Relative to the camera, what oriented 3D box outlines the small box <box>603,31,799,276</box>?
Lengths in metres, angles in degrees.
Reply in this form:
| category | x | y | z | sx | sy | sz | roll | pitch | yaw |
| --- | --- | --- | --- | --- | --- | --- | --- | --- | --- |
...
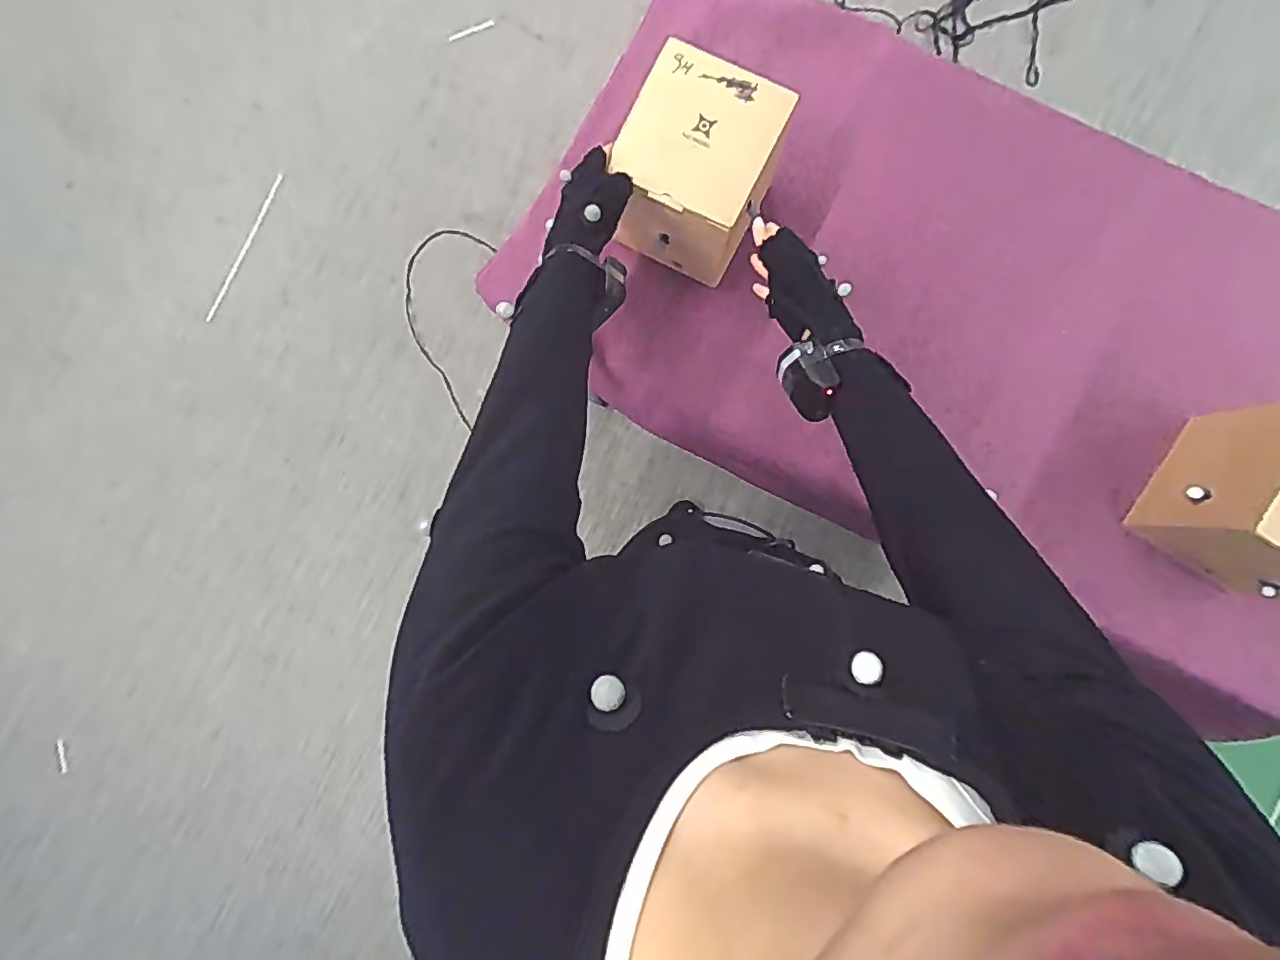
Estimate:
| category | x | y | z | sx | sy | sz | roll | pitch | yaw |
| --- | --- | --- | --- | --- | --- | --- | --- | --- | --- |
| small box | 0.073 | -0.391 | 0.683 | 0.168 | 0.176 | 0.179 | 27 | 90 | 3 |

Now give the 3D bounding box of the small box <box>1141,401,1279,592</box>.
| category | x | y | z | sx | sy | sz | roll | pitch | yaw |
| --- | --- | --- | --- | --- | --- | --- | --- | --- | --- |
| small box | 0.752 | 0.024 | 0.627 | 0.168 | 0.176 | 0.179 | 34 | 90 | 4 |
